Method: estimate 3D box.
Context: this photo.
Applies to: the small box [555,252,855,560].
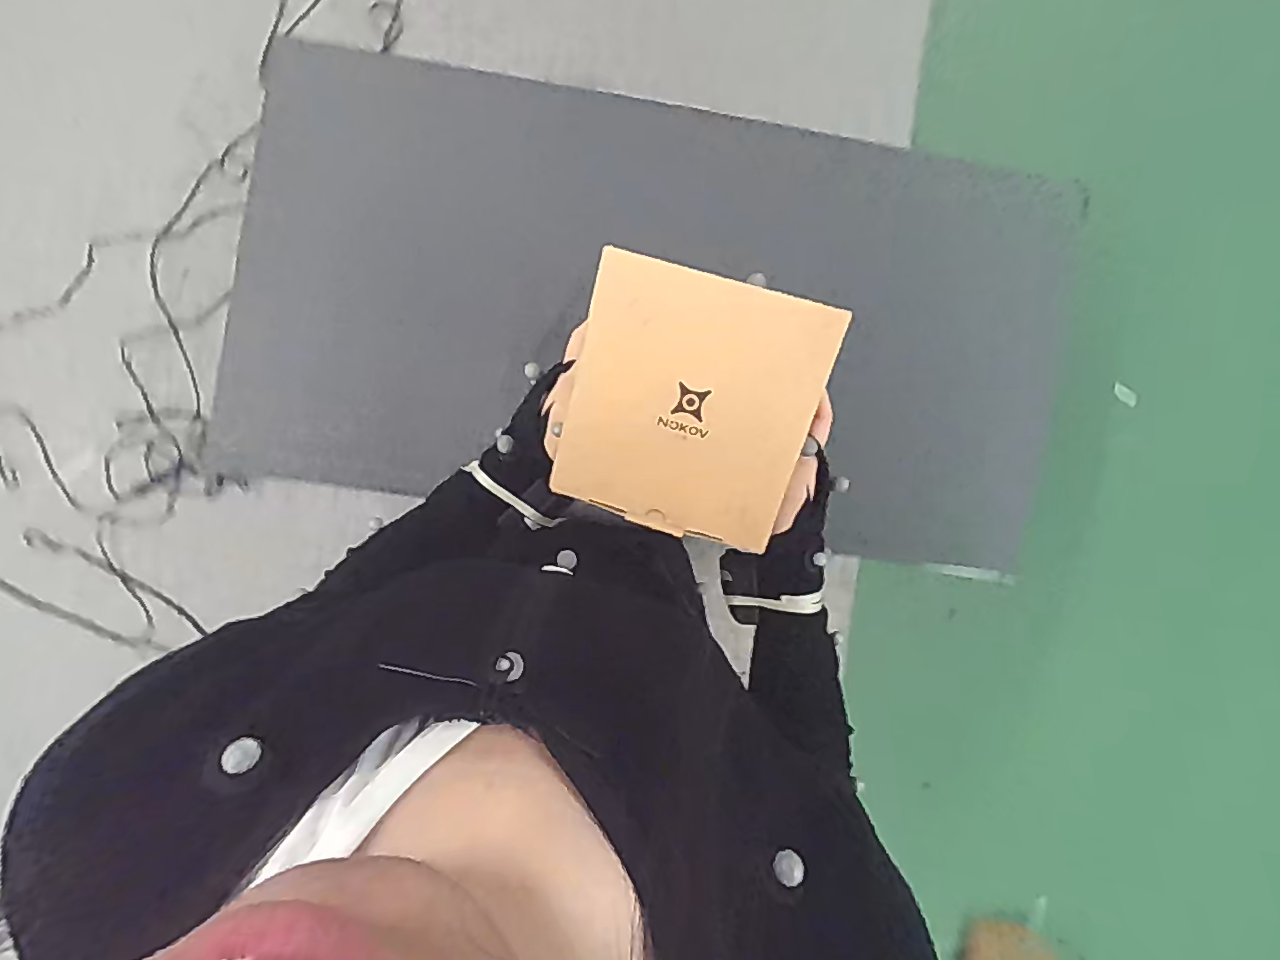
[{"bbox_3d":[0.046,-0.066,0.445,0.168,0.176,0.179,17,108,3],"label":"small box"}]
